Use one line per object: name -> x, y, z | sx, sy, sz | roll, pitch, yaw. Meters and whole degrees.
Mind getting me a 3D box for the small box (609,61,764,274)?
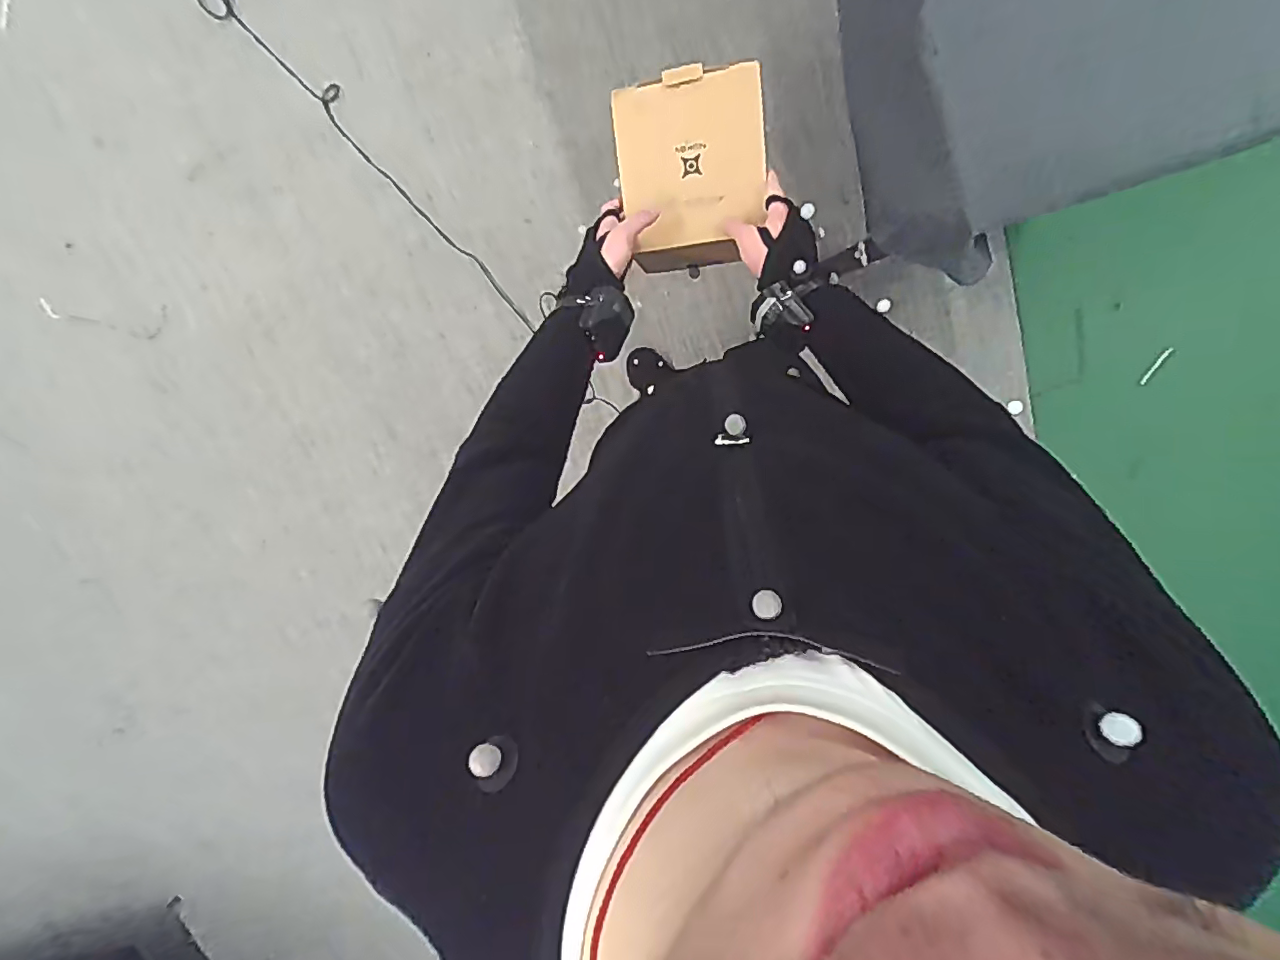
small box -> 0.063, -0.366, 0.669 | 0.168, 0.176, 0.179 | -3, 102, 11
